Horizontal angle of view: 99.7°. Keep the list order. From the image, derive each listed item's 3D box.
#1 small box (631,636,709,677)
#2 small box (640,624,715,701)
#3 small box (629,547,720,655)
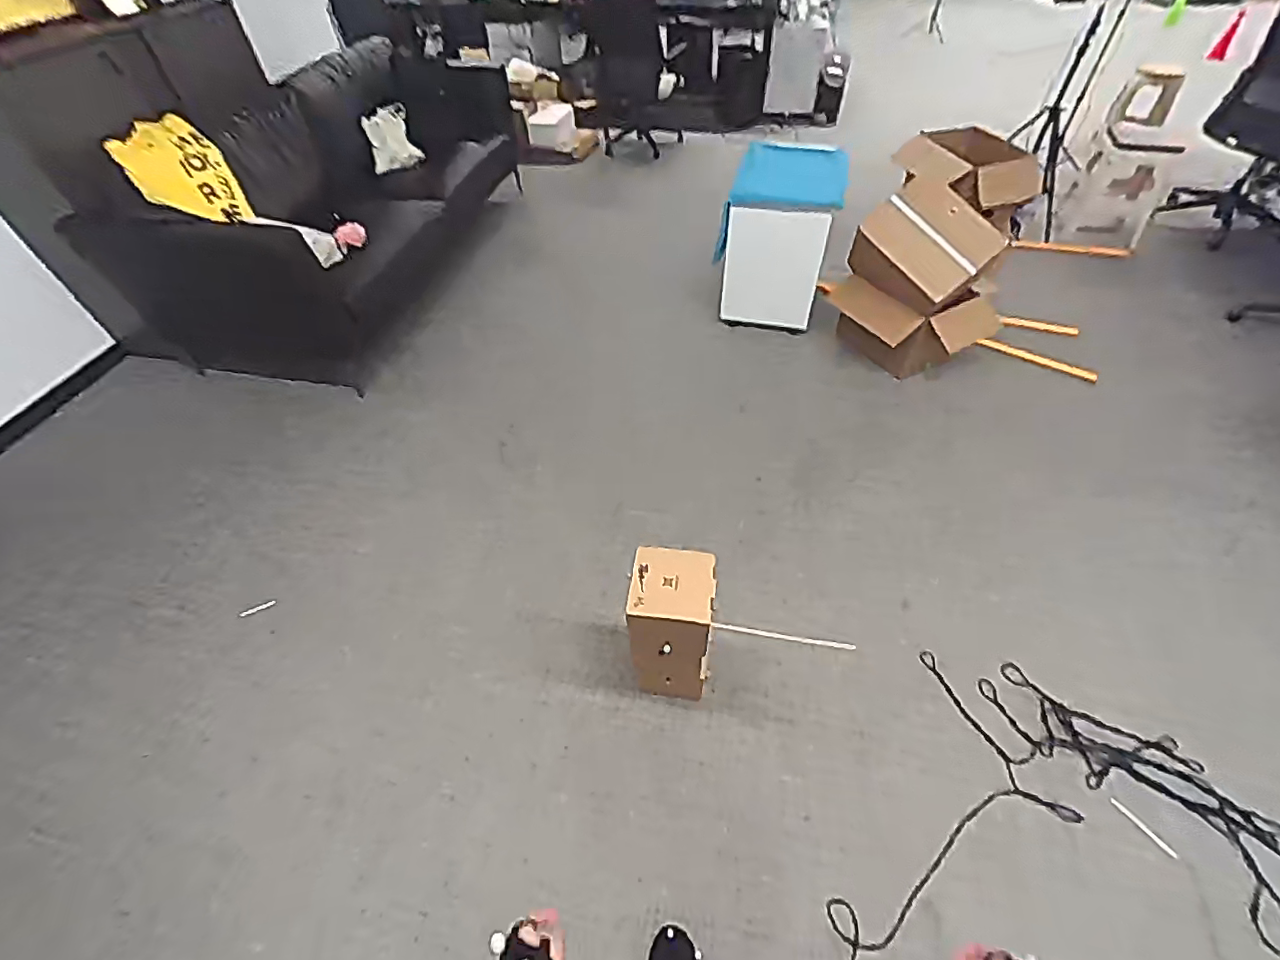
[{"bbox_3d":[0.084,0.366,1.328,0.179,0.176,0.168,7,51,10],"label":"small box"},{"bbox_3d":[0.103,0.474,1.450,0.179,0.176,0.168,7,50,9],"label":"small box"},{"bbox_3d":[0.077,0.271,1.194,0.179,0.176,0.168,5,50,8],"label":"small box"}]
